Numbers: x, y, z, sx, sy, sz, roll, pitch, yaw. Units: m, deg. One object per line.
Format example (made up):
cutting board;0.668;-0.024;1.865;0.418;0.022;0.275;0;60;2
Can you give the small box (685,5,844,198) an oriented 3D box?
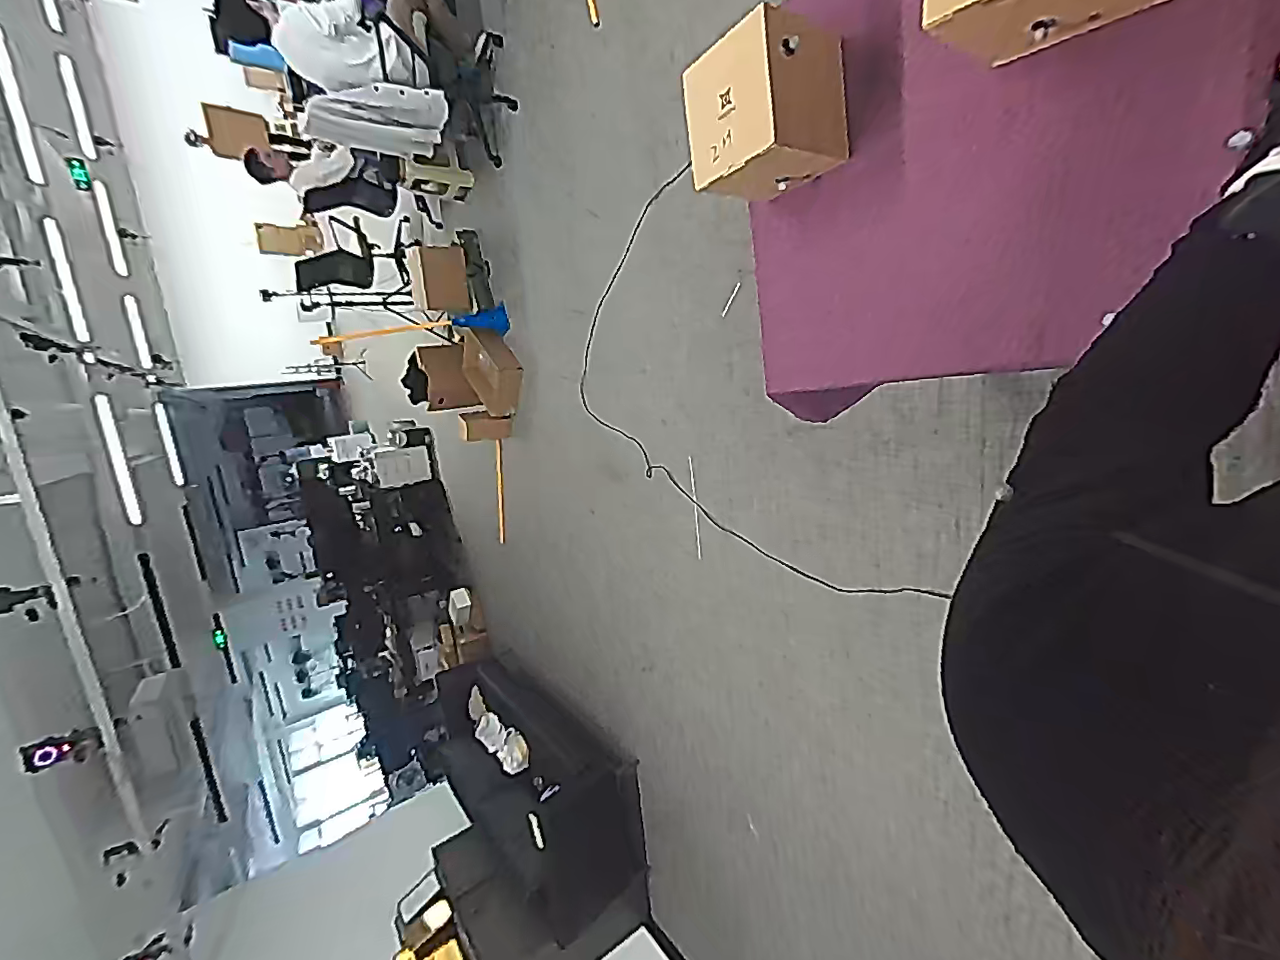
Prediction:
small box;0.191;-0.556;0.826;0.168;0.176;0.179;6;106;55

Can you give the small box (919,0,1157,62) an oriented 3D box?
small box;0.401;-0.553;0.524;0.168;0.176;0.179;17;116;53
